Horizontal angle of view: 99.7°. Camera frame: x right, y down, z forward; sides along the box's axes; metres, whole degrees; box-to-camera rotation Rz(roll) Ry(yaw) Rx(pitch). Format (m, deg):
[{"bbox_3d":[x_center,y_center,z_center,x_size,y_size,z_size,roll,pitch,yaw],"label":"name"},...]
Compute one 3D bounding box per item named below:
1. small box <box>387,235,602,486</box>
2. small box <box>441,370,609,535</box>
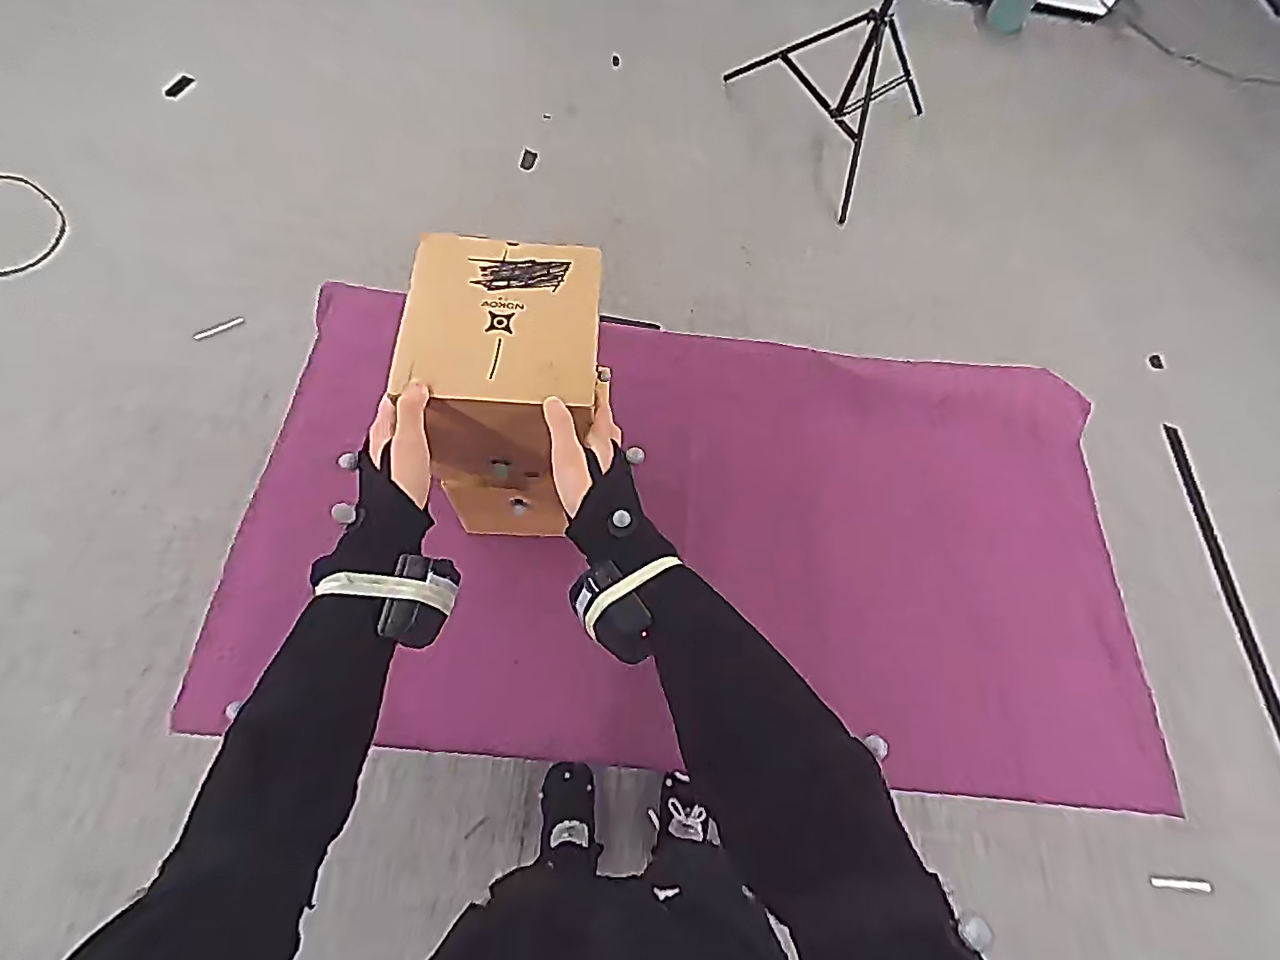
[{"bbox_3d":[-0.128,-0.109,0.541,0.168,0.176,0.179,3,68,-5],"label":"small box"},{"bbox_3d":[-0.134,-0.032,0.687,0.179,0.176,0.168,3,67,-5],"label":"small box"}]
